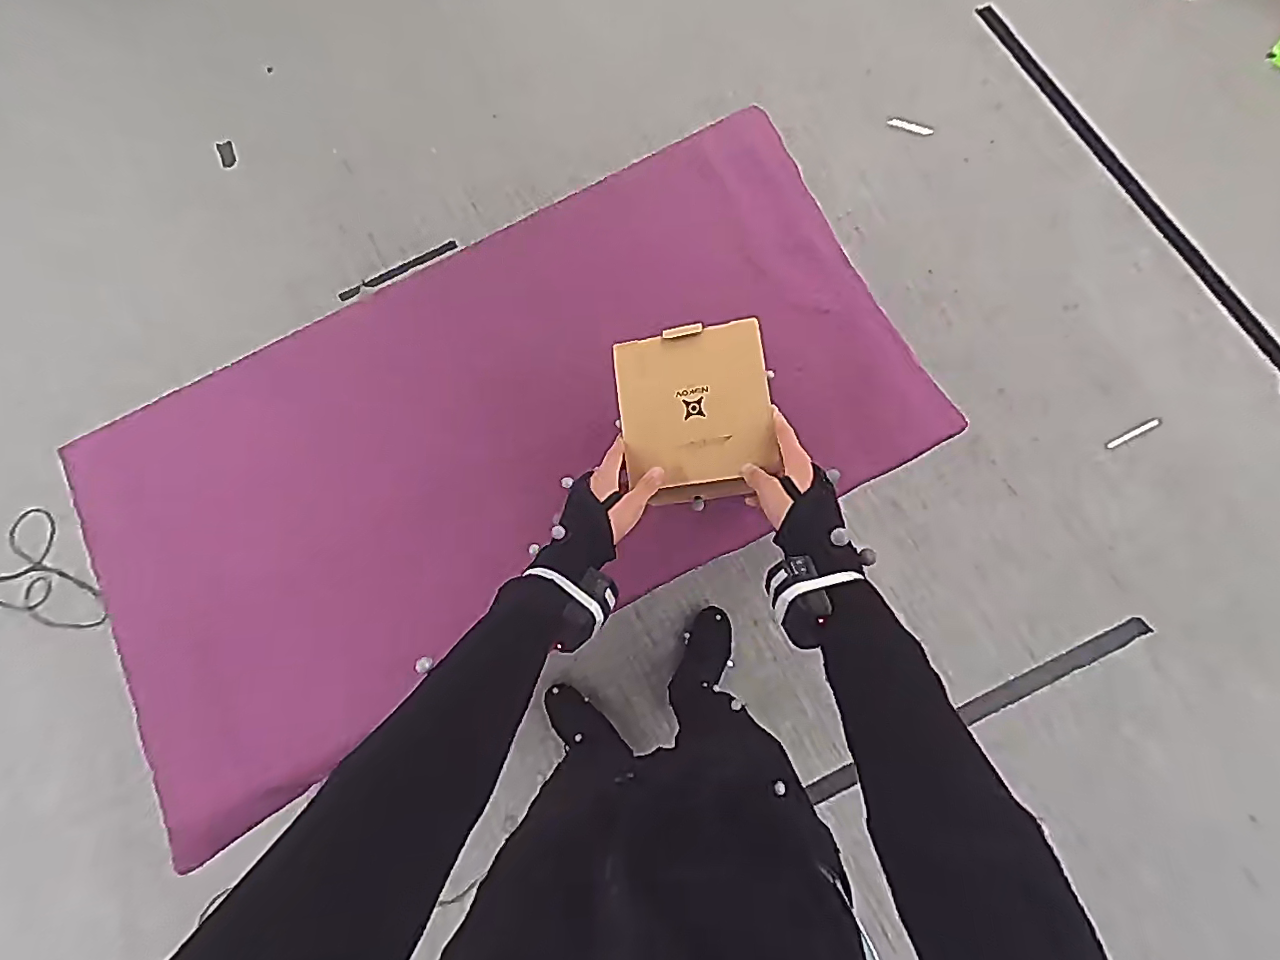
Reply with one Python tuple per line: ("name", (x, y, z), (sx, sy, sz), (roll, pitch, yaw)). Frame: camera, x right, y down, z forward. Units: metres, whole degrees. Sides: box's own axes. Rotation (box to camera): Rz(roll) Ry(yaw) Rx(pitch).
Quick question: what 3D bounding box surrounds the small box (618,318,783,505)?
("small box", (0.075, -0.071, 0.661), (0.168, 0.176, 0.179), (-8, 81, 10))
